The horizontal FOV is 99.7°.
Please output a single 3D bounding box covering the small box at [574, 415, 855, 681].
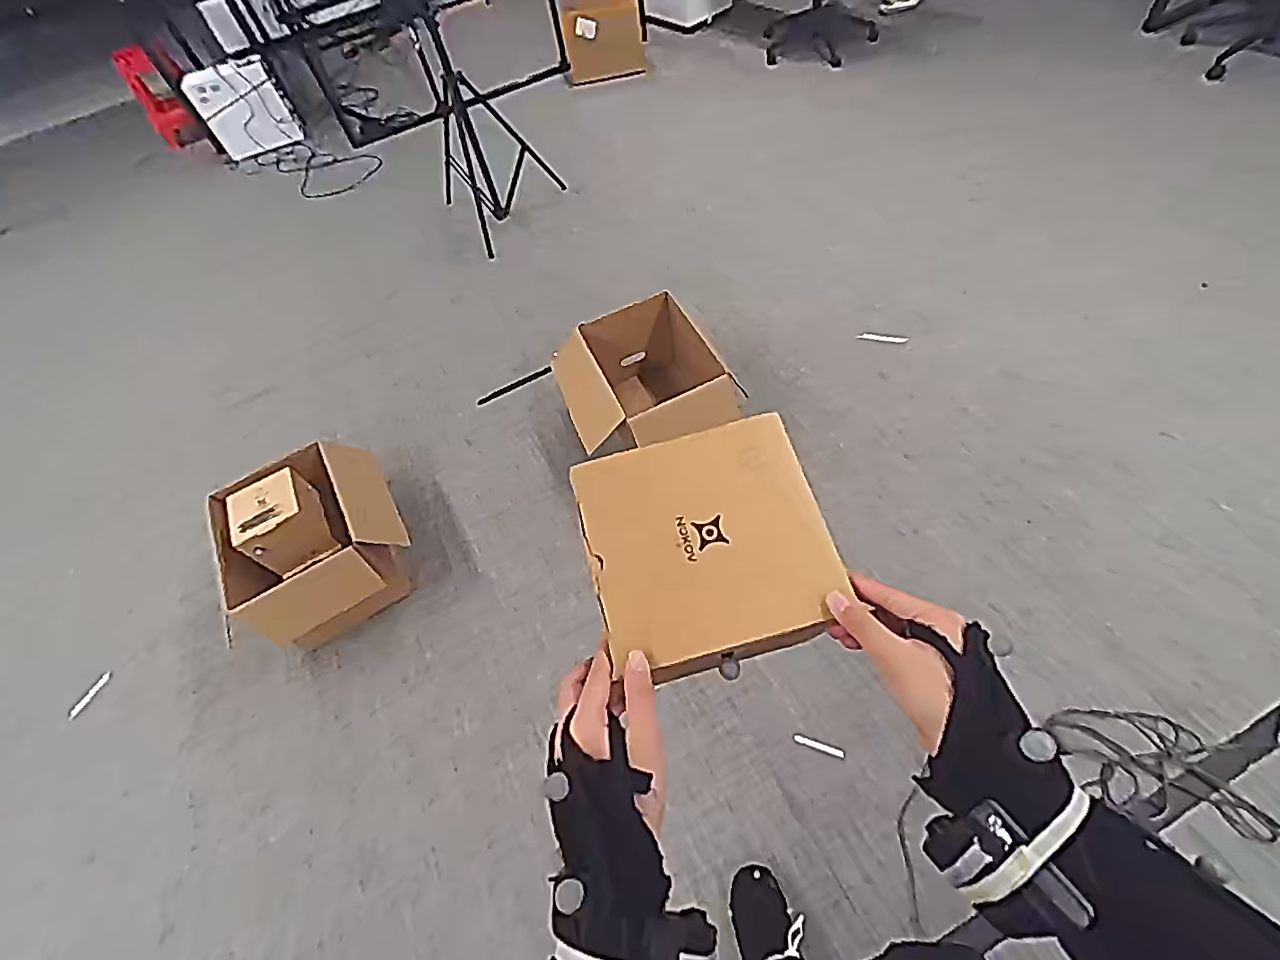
[{"bbox_3d":[0.054,0.070,0.477,0.179,0.176,0.168,-16,66,-1],"label":"small box"}]
